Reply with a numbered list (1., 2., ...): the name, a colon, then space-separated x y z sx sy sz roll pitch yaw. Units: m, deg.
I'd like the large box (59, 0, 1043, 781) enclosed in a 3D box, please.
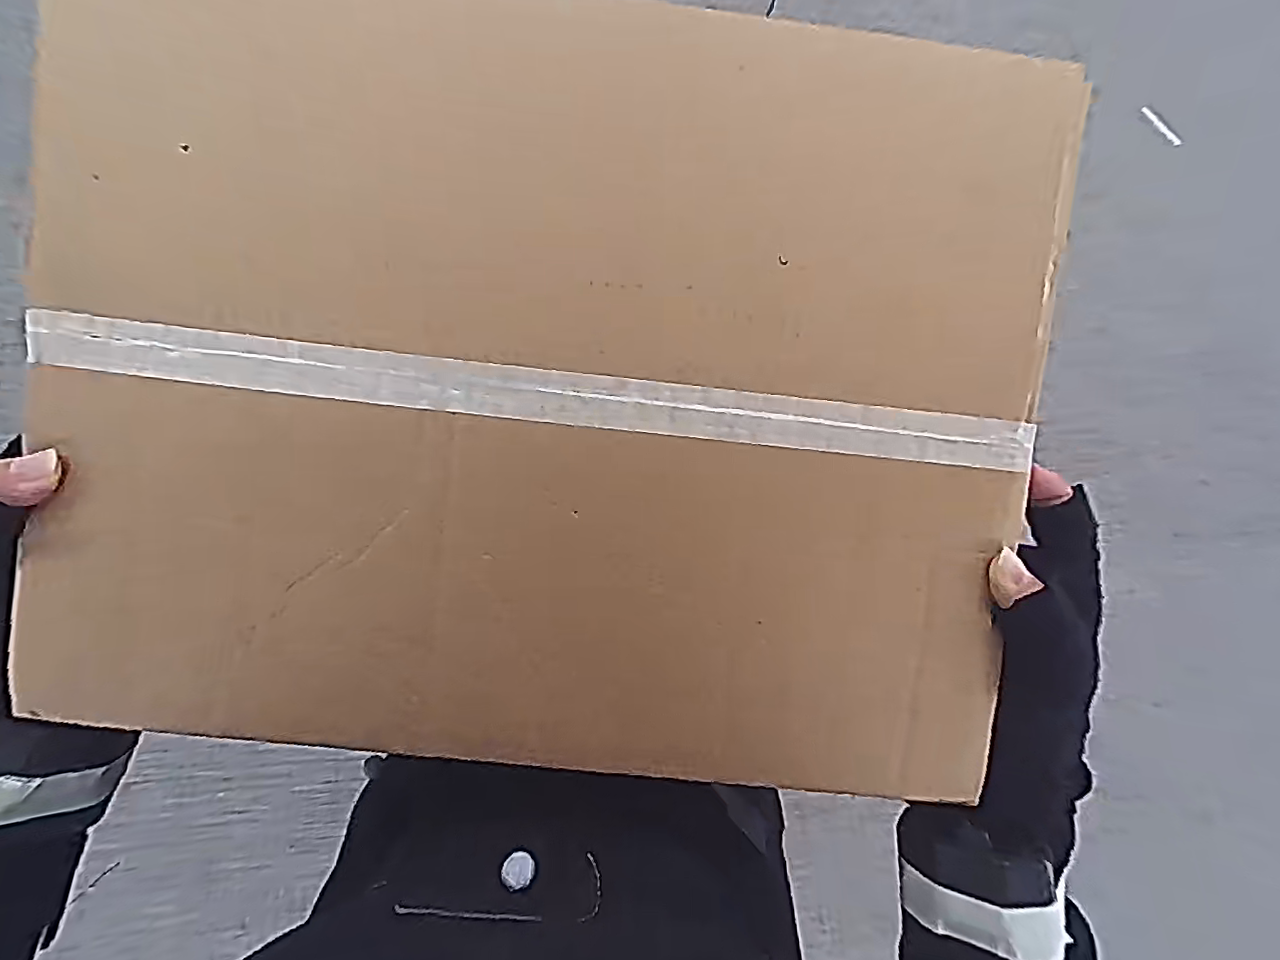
1. large box: -0.041 -0.039 0.382 0.408 0.320 0.320 6 93 -2
